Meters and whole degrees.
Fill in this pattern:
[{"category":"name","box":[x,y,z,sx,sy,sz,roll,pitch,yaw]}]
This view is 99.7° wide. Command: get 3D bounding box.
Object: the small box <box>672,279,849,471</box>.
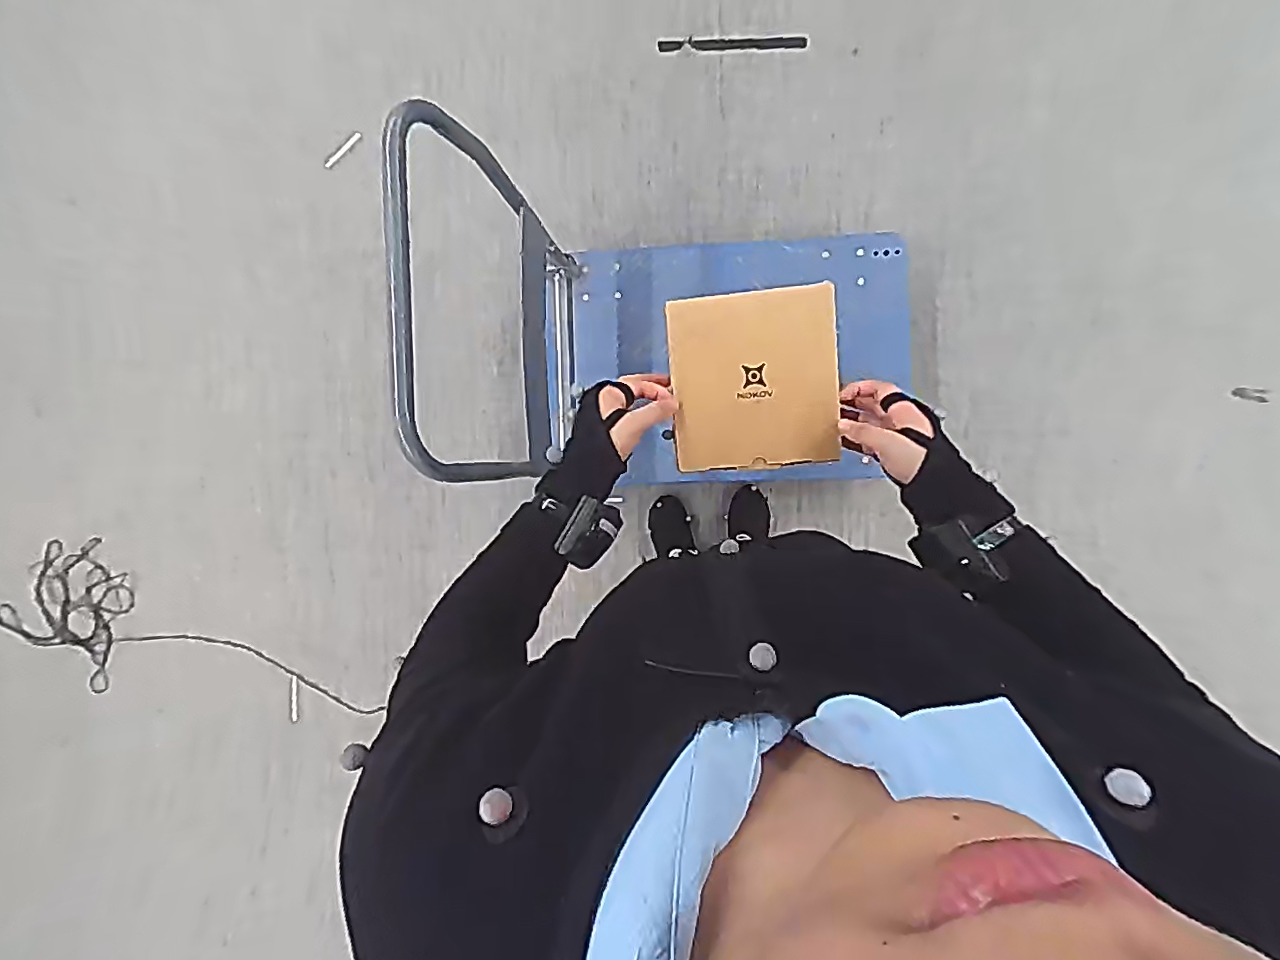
[{"category":"small box","box":[0.125,-0.110,0.610,0.168,0.176,0.179,-5,97,6]}]
